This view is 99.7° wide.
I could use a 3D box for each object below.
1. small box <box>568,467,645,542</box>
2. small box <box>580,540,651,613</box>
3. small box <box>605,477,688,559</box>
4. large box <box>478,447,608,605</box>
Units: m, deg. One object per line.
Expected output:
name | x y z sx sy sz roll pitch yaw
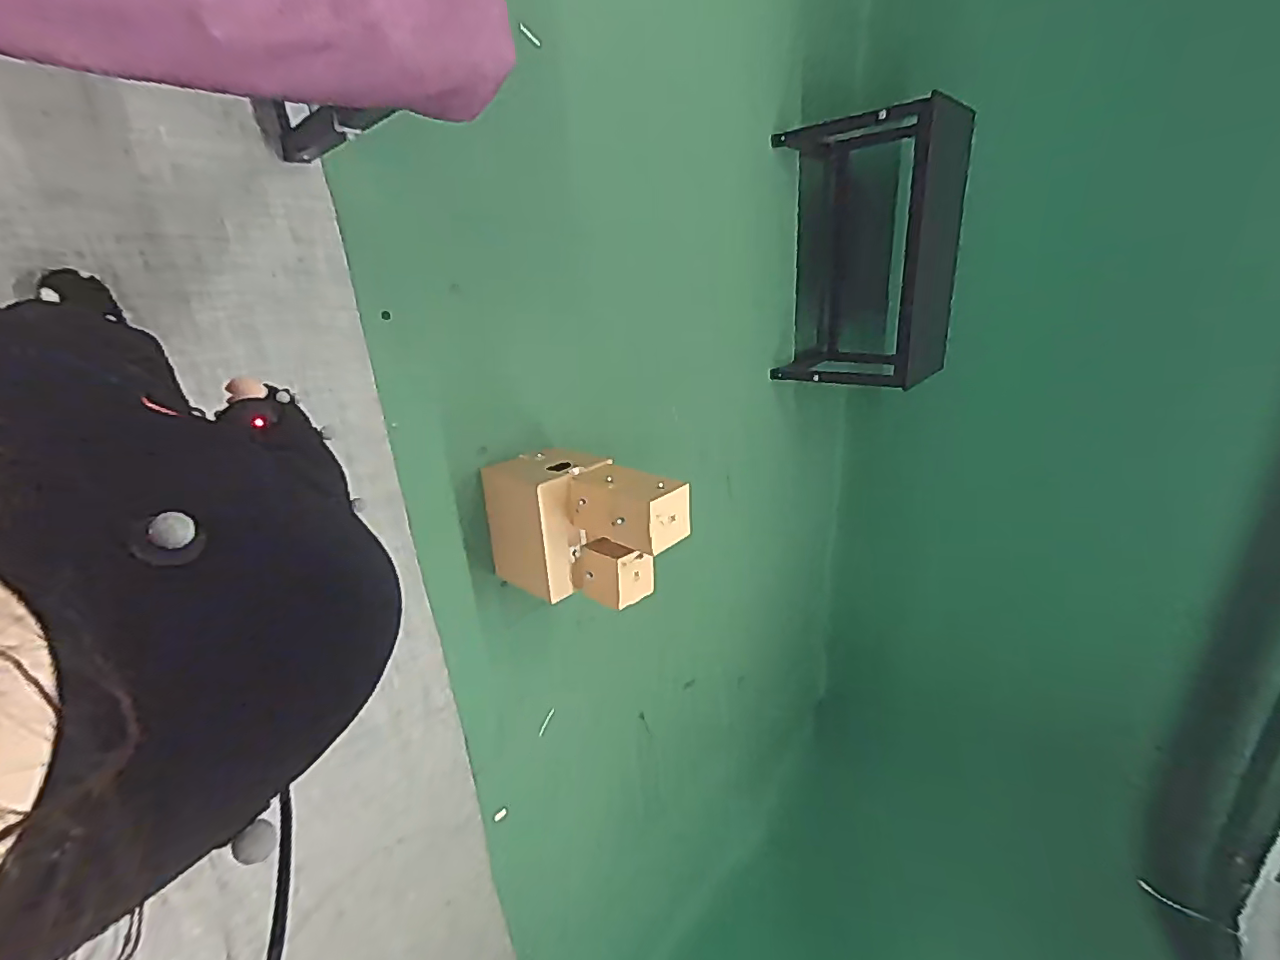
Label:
small box | -0.101 0.068 1.669 0.179 0.176 0.168 -23 118 -44
small box | -0.083 0.301 1.753 0.168 0.176 0.179 -16 112 -47
small box | 0.021 0.102 1.563 0.179 0.176 0.168 -24 118 -43
large box | -0.309 0.136 1.824 0.320 0.320 0.408 -22 118 -43
